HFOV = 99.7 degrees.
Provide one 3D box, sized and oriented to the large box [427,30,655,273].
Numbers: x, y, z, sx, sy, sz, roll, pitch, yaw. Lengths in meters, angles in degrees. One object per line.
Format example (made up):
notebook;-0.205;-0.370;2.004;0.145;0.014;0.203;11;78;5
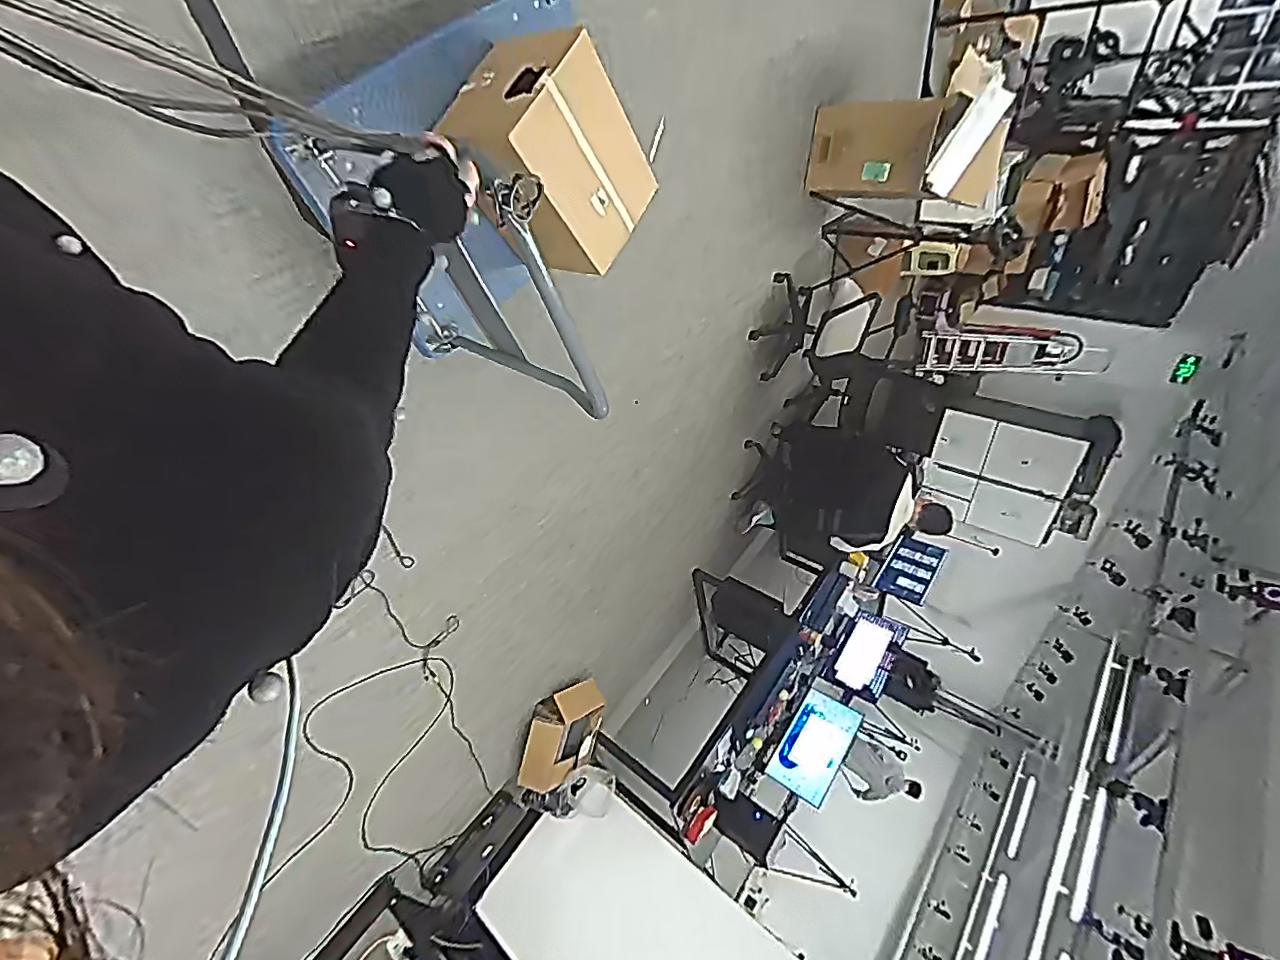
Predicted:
large box;-0.229;-0.788;1.347;0.320;0.320;0.408;-61;147;-9
